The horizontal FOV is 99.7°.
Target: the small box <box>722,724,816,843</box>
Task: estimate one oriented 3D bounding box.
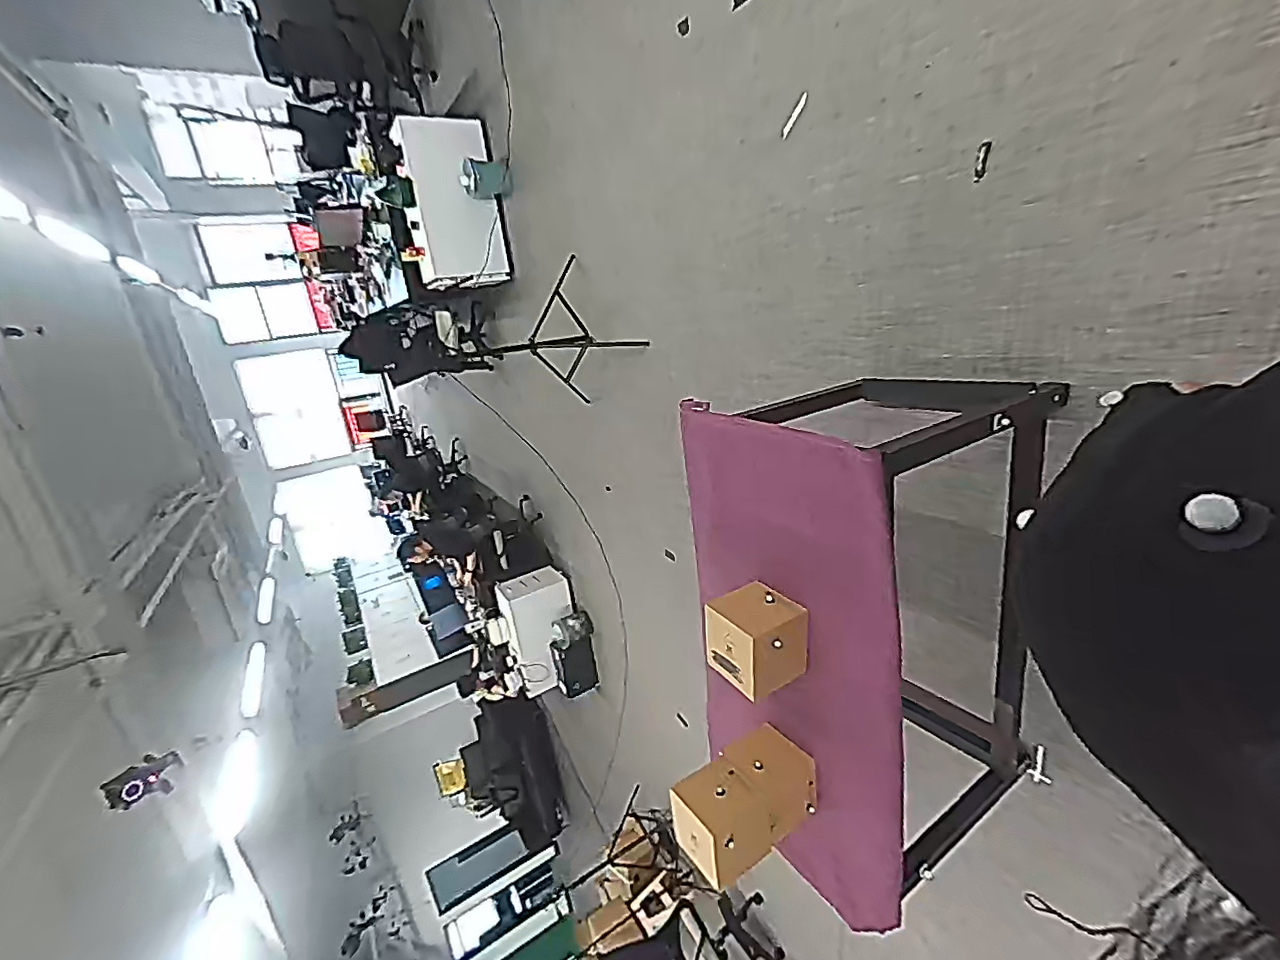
[{"bbox_3d":[0.335,0.765,1.387,0.179,0.176,0.168,21,123,56],"label":"small box"}]

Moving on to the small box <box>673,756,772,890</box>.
[{"bbox_3d":[0.201,0.812,1.303,0.168,0.176,0.179,20,122,56],"label":"small box"}]
